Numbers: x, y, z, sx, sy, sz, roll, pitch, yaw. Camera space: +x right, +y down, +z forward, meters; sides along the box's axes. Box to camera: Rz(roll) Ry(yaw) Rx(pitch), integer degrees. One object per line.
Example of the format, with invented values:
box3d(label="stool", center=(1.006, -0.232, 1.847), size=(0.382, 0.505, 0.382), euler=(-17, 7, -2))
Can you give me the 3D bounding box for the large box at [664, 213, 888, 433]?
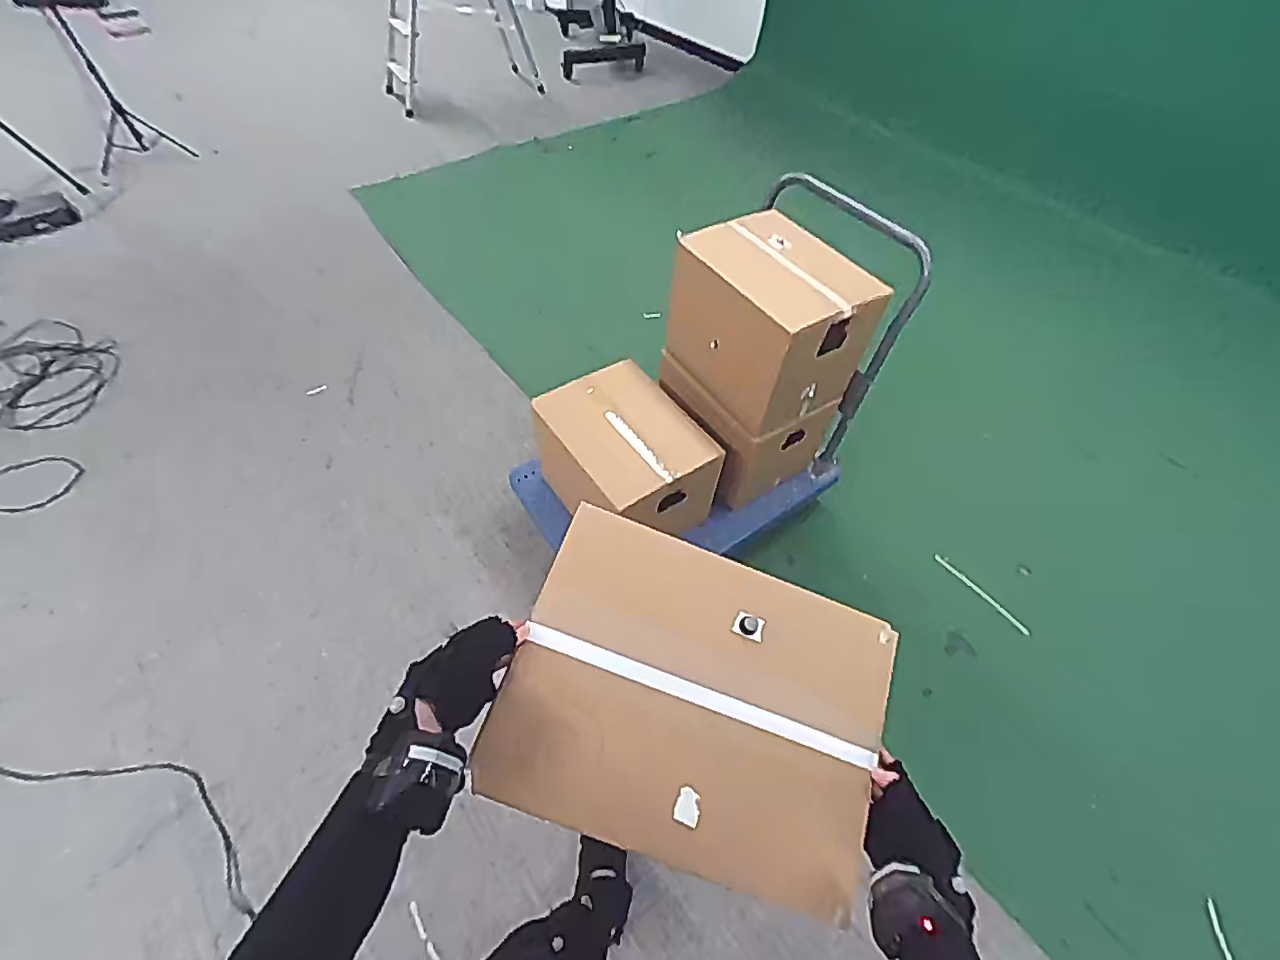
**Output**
box3d(label="large box", center=(0.302, -0.389, 1.331), size=(0.320, 0.320, 0.408), euler=(-26, 58, -22))
